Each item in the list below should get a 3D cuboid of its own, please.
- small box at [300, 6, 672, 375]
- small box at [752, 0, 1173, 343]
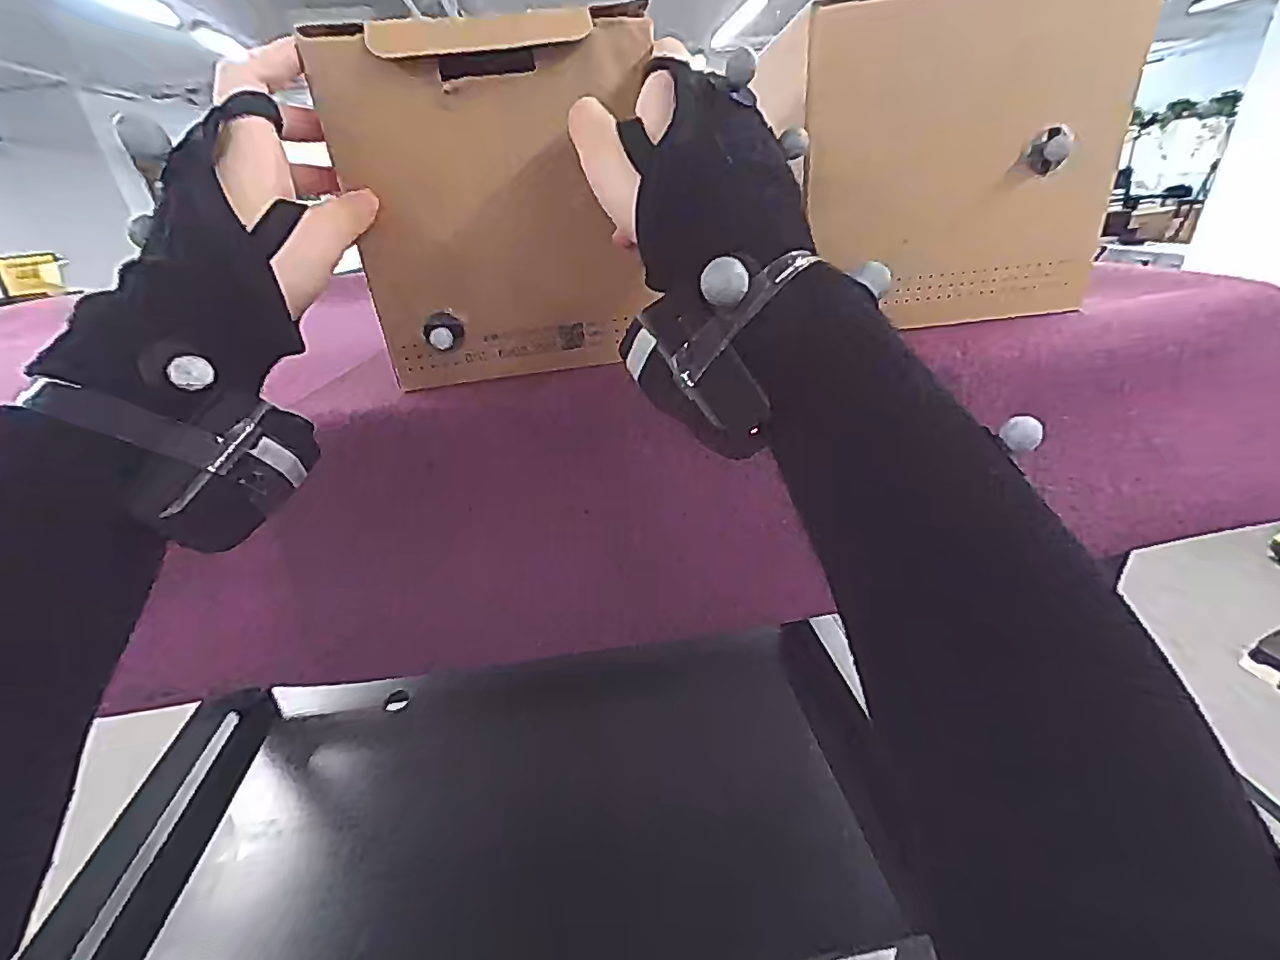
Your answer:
[{"bbox_3d":[-0.077,-0.172,0.356,0.168,0.176,0.179,-8,26,-6],"label":"small box"},{"bbox_3d":[0.176,-0.199,0.363,0.179,0.176,0.168,-6,27,1],"label":"small box"}]
